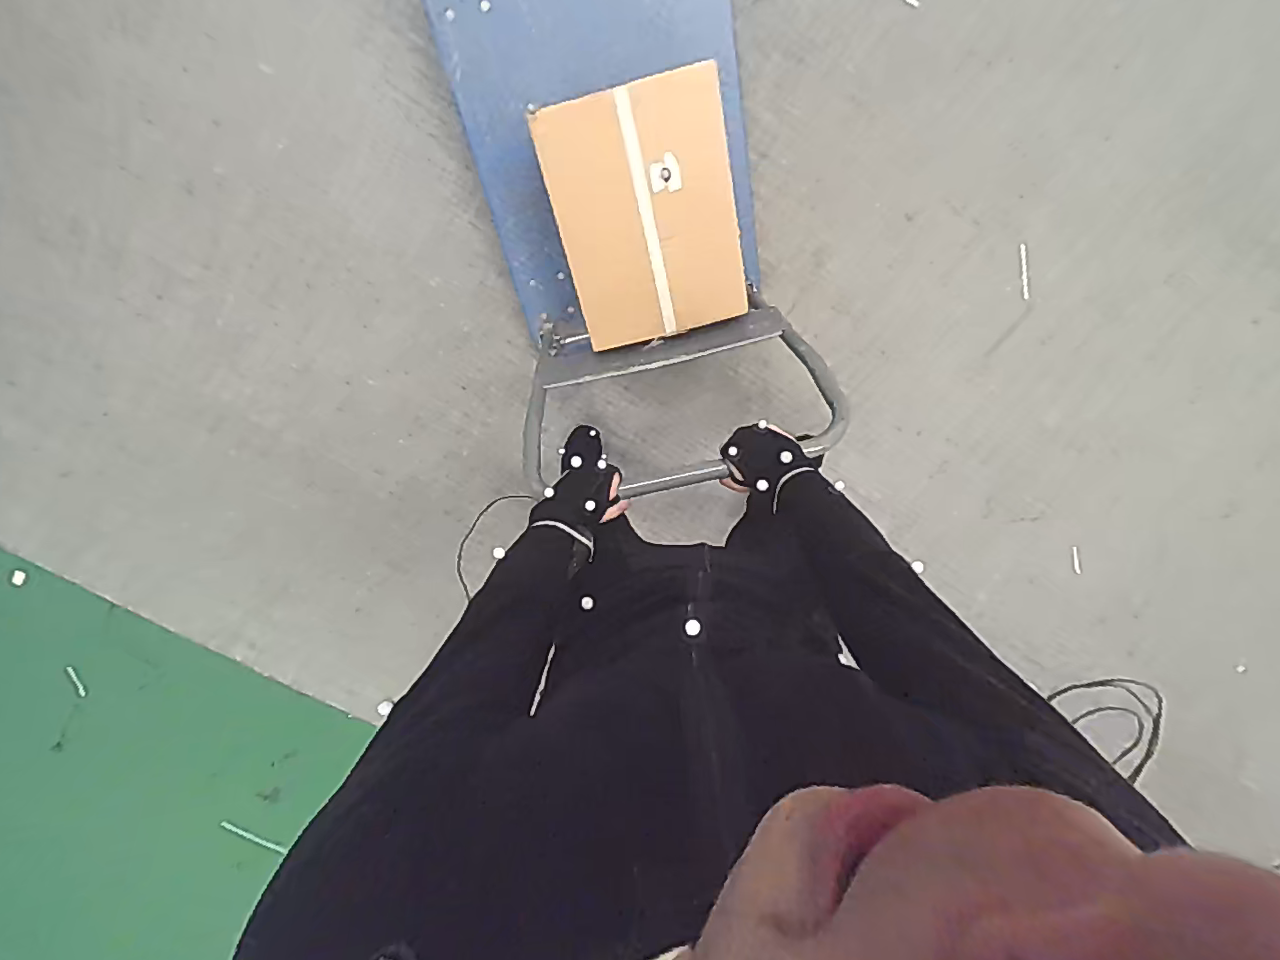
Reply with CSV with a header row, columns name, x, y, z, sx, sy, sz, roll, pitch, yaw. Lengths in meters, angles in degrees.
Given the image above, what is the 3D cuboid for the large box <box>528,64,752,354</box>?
name,x,y,z,sx,sy,sz,roll,pitch,yaw
large box,0.011,-0.518,1.077,0.320,0.320,0.408,-14,119,4
